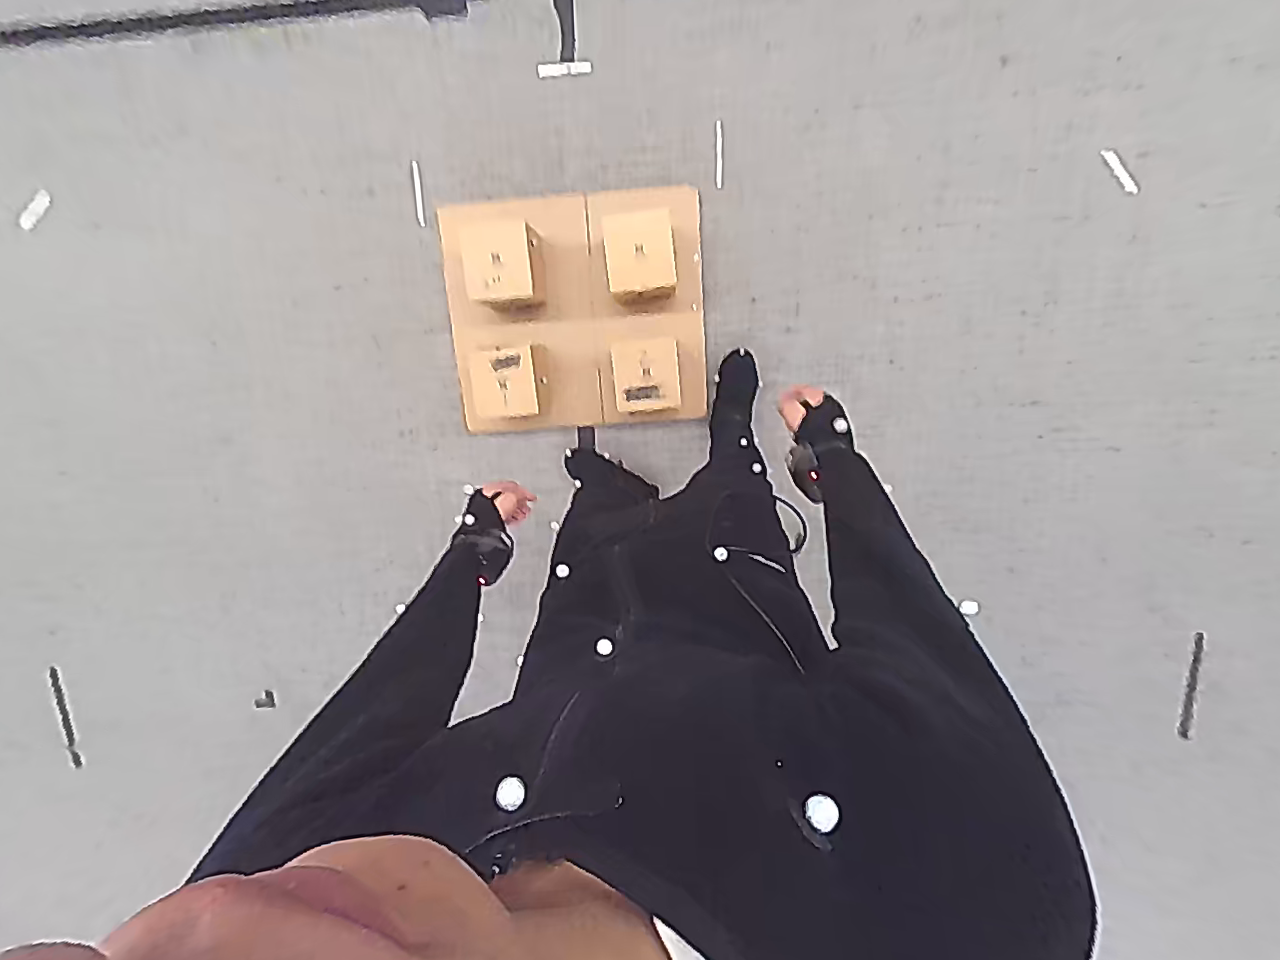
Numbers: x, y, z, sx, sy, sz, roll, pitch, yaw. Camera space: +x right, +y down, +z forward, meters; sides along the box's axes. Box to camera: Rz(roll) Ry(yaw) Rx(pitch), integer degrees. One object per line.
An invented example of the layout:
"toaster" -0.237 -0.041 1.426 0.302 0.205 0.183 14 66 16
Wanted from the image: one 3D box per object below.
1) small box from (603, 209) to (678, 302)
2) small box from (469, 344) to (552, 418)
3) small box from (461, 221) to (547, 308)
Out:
"small box" 0.002 -0.562 1.372 0.168 0.176 0.179 -7 102 4
"small box" -0.340 -0.265 1.447 0.168 0.176 0.179 -4 103 4
"small box" -0.341 -0.544 1.384 0.168 0.176 0.179 -3 102 4
